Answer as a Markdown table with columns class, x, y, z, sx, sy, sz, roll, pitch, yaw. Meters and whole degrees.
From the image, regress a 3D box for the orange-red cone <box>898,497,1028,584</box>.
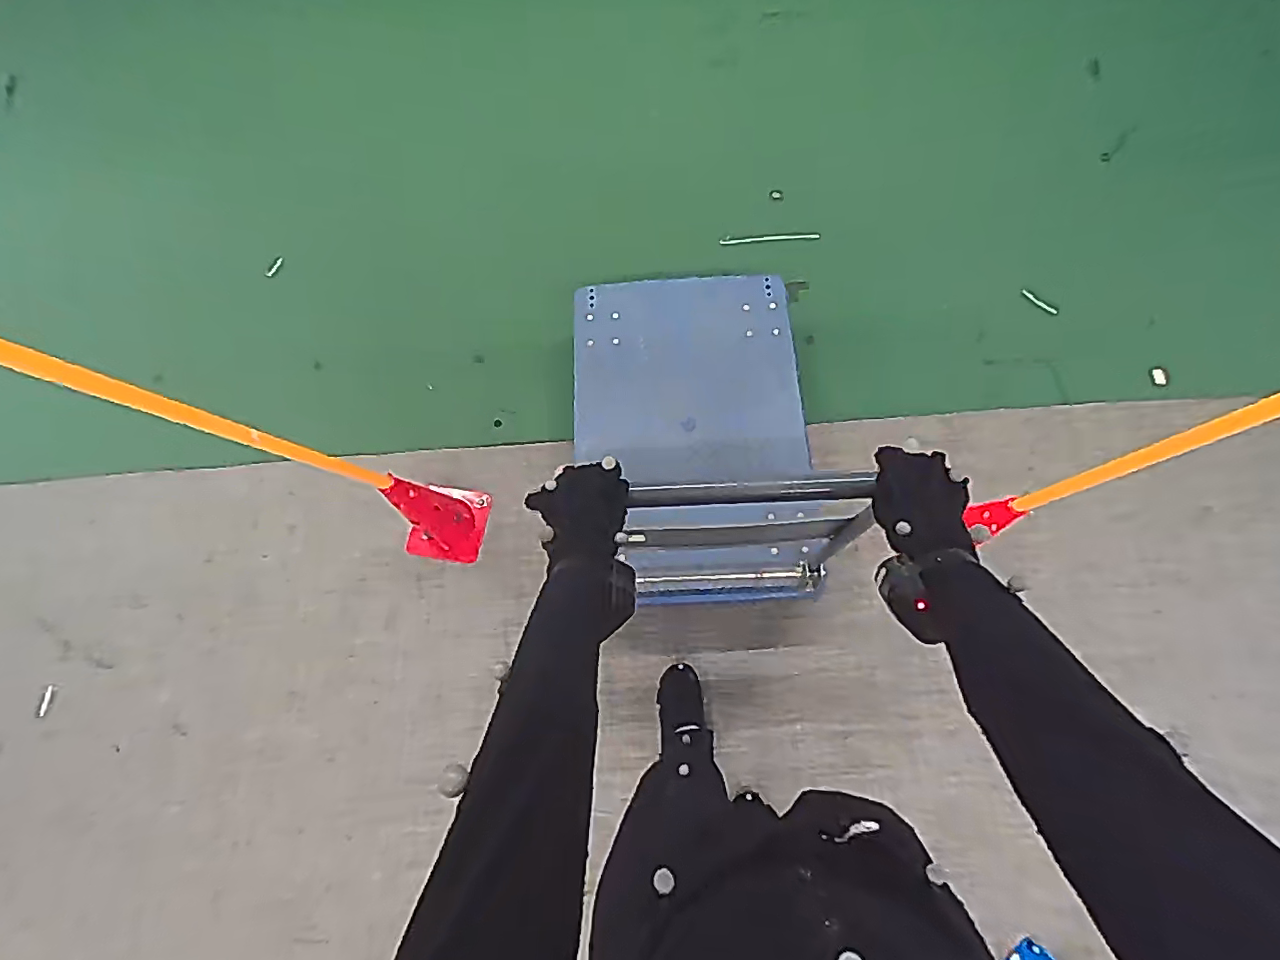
| class | x | y | z | sx | sy | sz | roll | pitch | yaw |
| --- | --- | --- | --- | --- | --- | --- | --- | --- | --- |
| orange-red cone | 0.763 | 0.109 | 1.239 | 0.198 | 0.360 | 0.199 | 7 | 72 | 5 |
